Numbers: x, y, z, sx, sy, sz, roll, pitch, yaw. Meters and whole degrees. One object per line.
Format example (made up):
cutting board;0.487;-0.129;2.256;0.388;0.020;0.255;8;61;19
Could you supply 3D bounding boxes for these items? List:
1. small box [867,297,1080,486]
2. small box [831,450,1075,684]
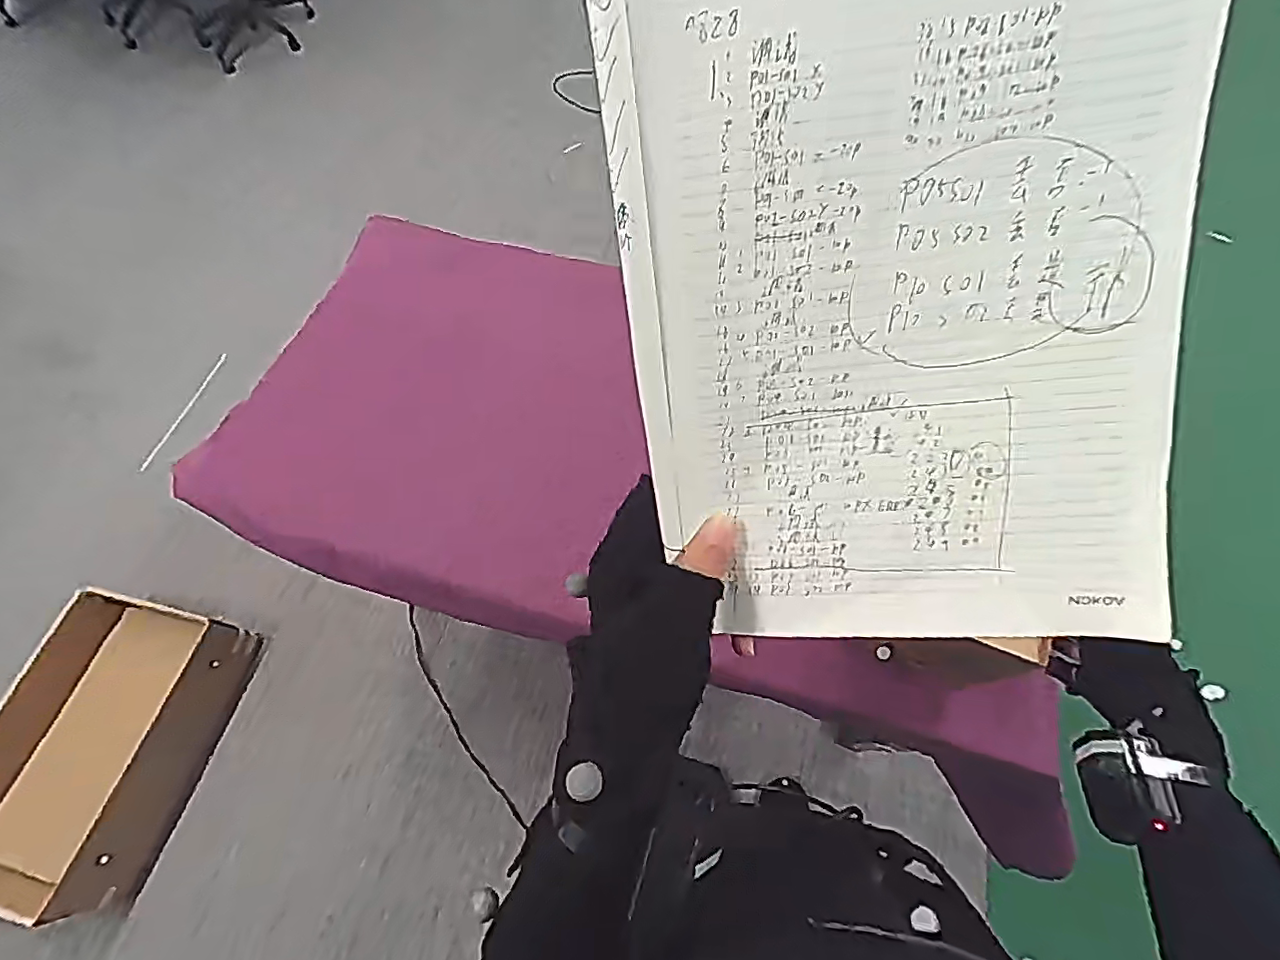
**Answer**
small box;0.405;-0.090;0.679;0.168;0.176;0.179;19;67;14
small box;0.326;0.102;0.594;0.168;0.176;0.179;22;68;16
